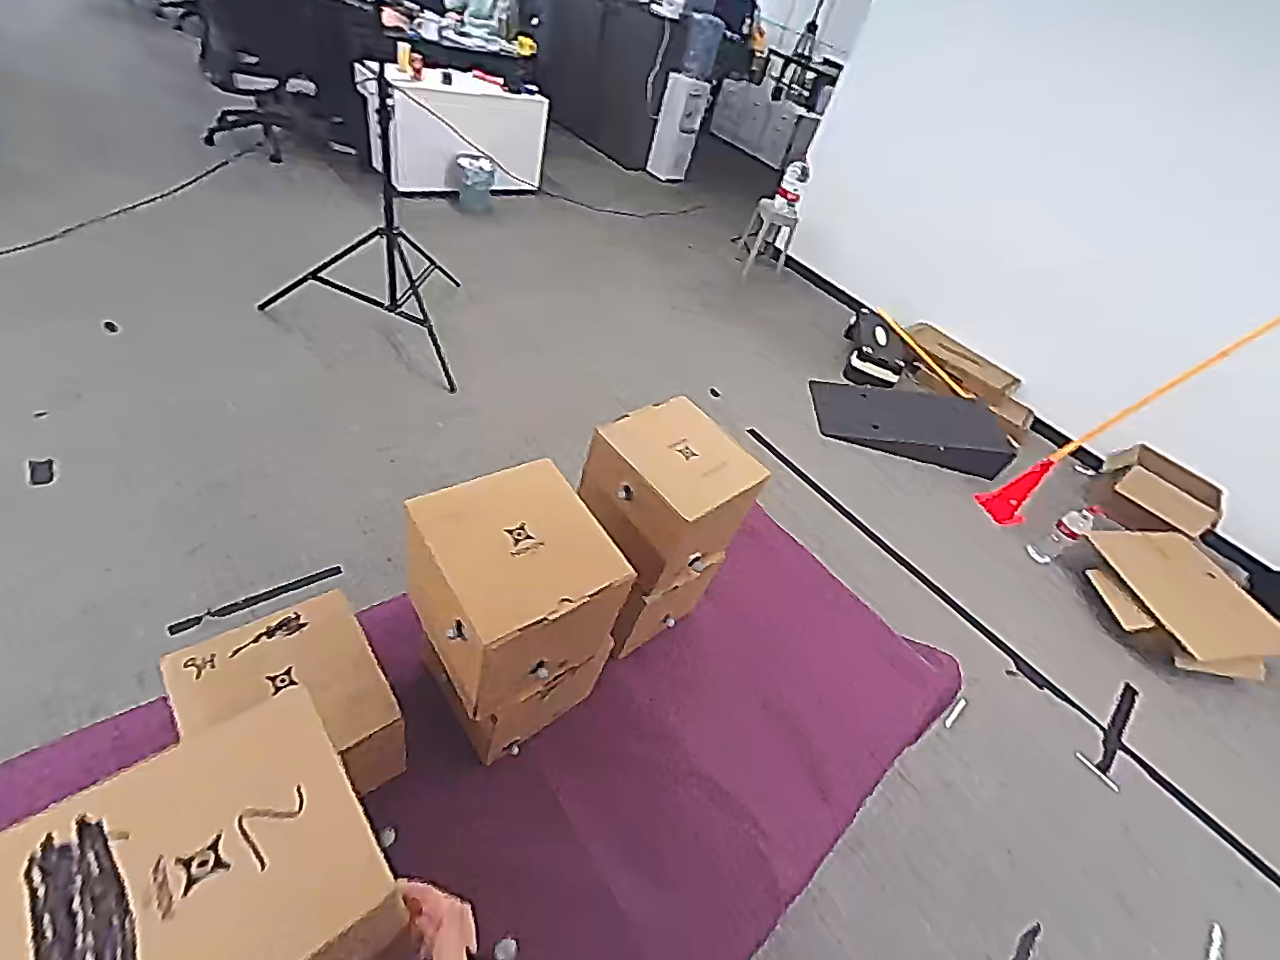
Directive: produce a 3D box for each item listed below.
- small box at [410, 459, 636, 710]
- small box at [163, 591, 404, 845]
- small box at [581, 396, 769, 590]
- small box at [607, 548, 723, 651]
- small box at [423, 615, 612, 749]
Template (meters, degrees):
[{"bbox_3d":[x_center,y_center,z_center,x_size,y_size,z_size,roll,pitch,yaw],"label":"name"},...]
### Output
[{"bbox_3d":[-0.136,0.110,0.588,0.168,0.176,0.179,-21,58,-35],"label":"small box"},{"bbox_3d":[-0.370,0.260,0.587,0.168,0.176,0.179,-22,59,-36],"label":"small box"},{"bbox_3d":[0.035,0.017,0.745,0.168,0.176,0.179,-27,62,-37],"label":"small box"},{"bbox_3d":[-0.007,0.132,0.851,0.168,0.176,0.179,-24,59,-36],"label":"small box"},{"bbox_3d":[-0.165,0.220,0.705,0.168,0.176,0.179,-24,58,-37],"label":"small box"}]
